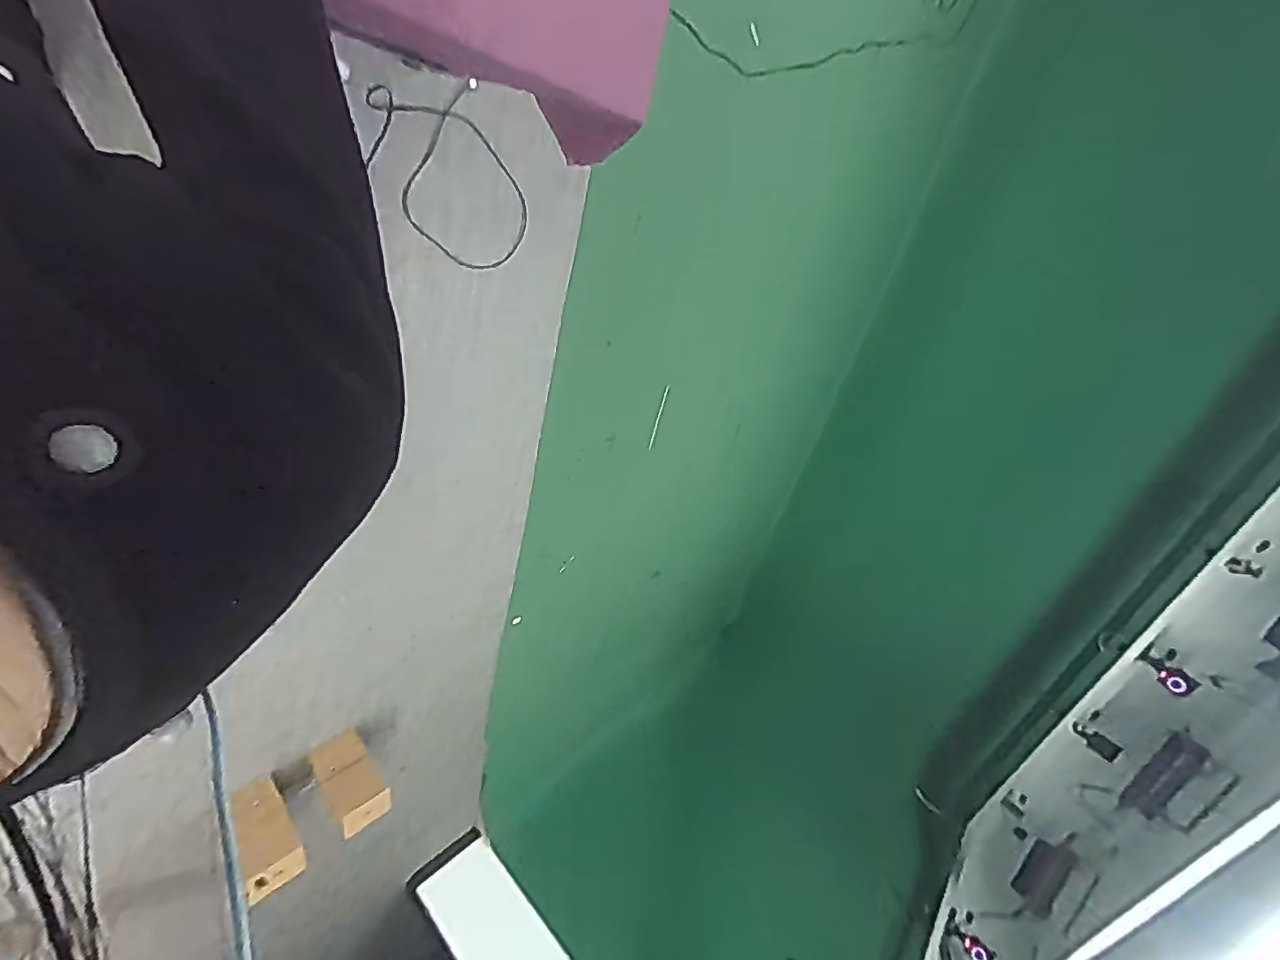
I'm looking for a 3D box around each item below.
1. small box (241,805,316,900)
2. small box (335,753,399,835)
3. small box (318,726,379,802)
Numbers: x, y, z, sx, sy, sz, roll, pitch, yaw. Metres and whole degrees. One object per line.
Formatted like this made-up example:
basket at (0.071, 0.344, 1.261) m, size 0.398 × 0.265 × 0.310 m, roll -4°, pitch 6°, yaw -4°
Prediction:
small box at (-1.264, 1.292, 1.887) m, size 0.179 × 0.176 × 0.168 m, roll -21°, pitch 134°, yaw -46°
small box at (-1.064, 1.213, 2.100) m, size 0.179 × 0.176 × 0.168 m, roll -22°, pitch 135°, yaw -45°
small box at (-1.182, 1.146, 2.191) m, size 0.179 × 0.176 × 0.168 m, roll -22°, pitch 134°, yaw -45°
